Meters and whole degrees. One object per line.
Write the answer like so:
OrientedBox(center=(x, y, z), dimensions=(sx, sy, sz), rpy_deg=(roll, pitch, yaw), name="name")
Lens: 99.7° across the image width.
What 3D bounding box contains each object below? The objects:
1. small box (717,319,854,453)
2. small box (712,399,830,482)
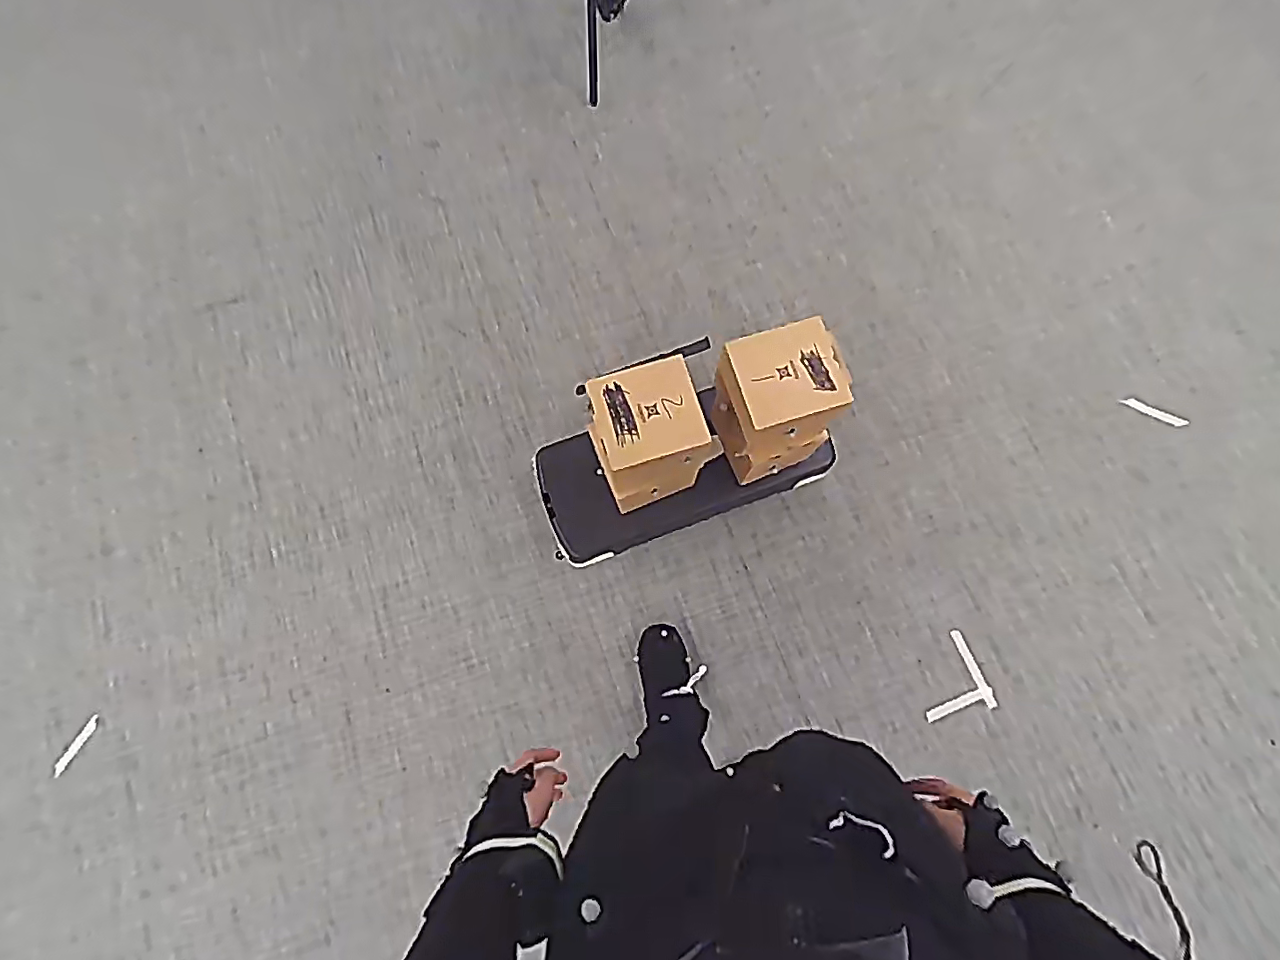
OrientedBox(center=(0.253, -0.163, 0.983), dimensions=(0.179, 0.176, 0.168), rpy_deg=(-16, 78, -2), name="small box")
OrientedBox(center=(0.264, -0.114, 1.141), dimensions=(0.168, 0.176, 0.179), rpy_deg=(-22, 78, -4), name="small box")
